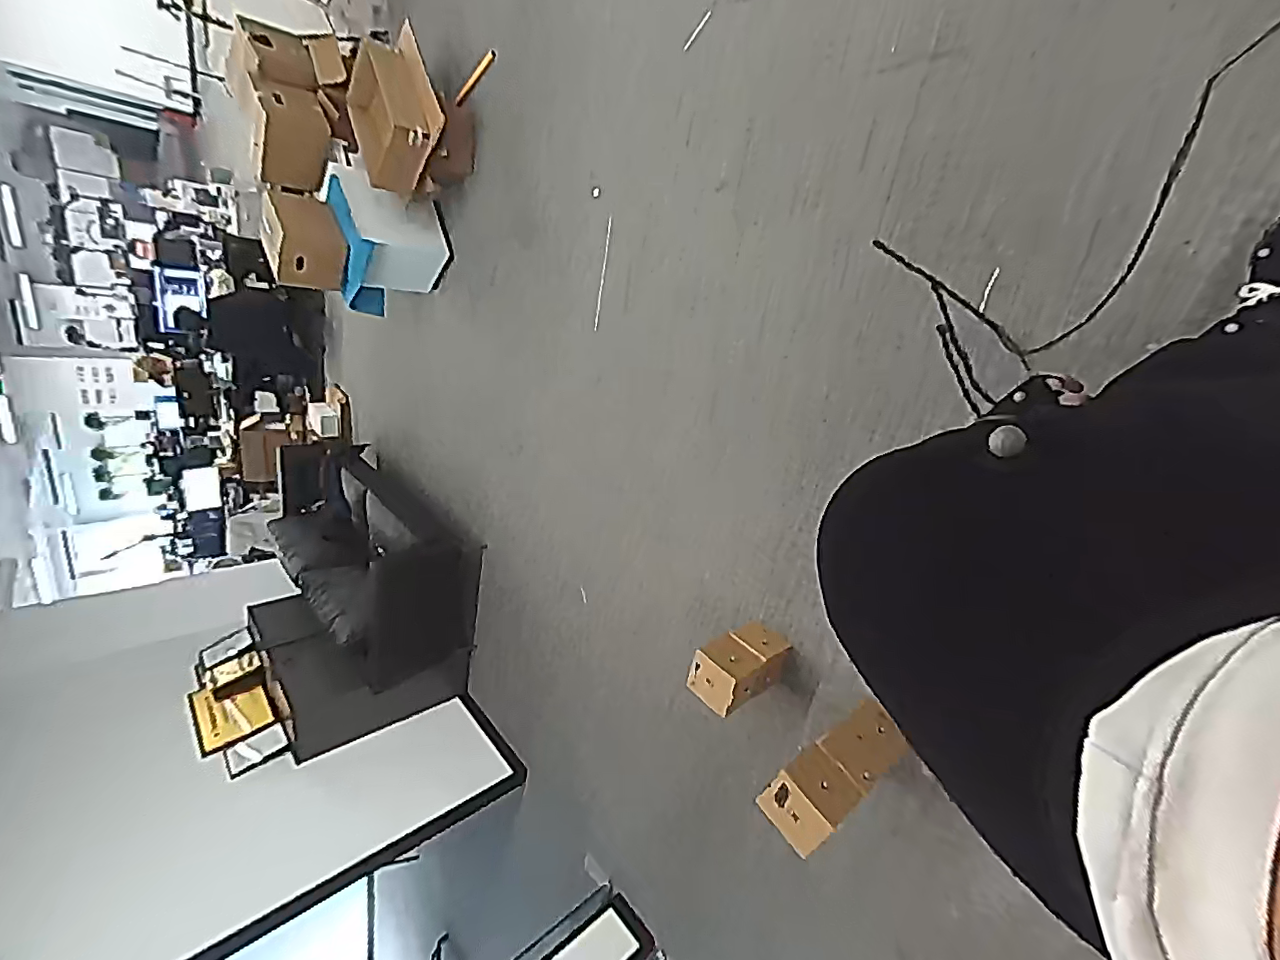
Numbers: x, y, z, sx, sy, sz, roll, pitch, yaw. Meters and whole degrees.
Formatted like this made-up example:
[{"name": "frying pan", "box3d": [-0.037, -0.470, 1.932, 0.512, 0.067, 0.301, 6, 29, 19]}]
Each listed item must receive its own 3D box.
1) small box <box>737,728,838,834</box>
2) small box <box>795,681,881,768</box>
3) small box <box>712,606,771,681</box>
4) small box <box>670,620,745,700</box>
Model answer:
[{"name": "small box", "box3d": [0.410, 0.823, 1.502, 0.179, 0.176, 0.168, 44, 127, 29]}, {"name": "small box", "box3d": [0.640, 0.779, 1.731, 0.168, 0.176, 0.179, 50, 129, 27]}, {"name": "small box", "box3d": [0.357, 0.590, 1.982, 0.168, 0.176, 0.179, 30, 119, 37]}, {"name": "small box", "box3d": [0.236, 0.615, 1.872, 0.179, 0.176, 0.168, 32, 119, 36]}]
